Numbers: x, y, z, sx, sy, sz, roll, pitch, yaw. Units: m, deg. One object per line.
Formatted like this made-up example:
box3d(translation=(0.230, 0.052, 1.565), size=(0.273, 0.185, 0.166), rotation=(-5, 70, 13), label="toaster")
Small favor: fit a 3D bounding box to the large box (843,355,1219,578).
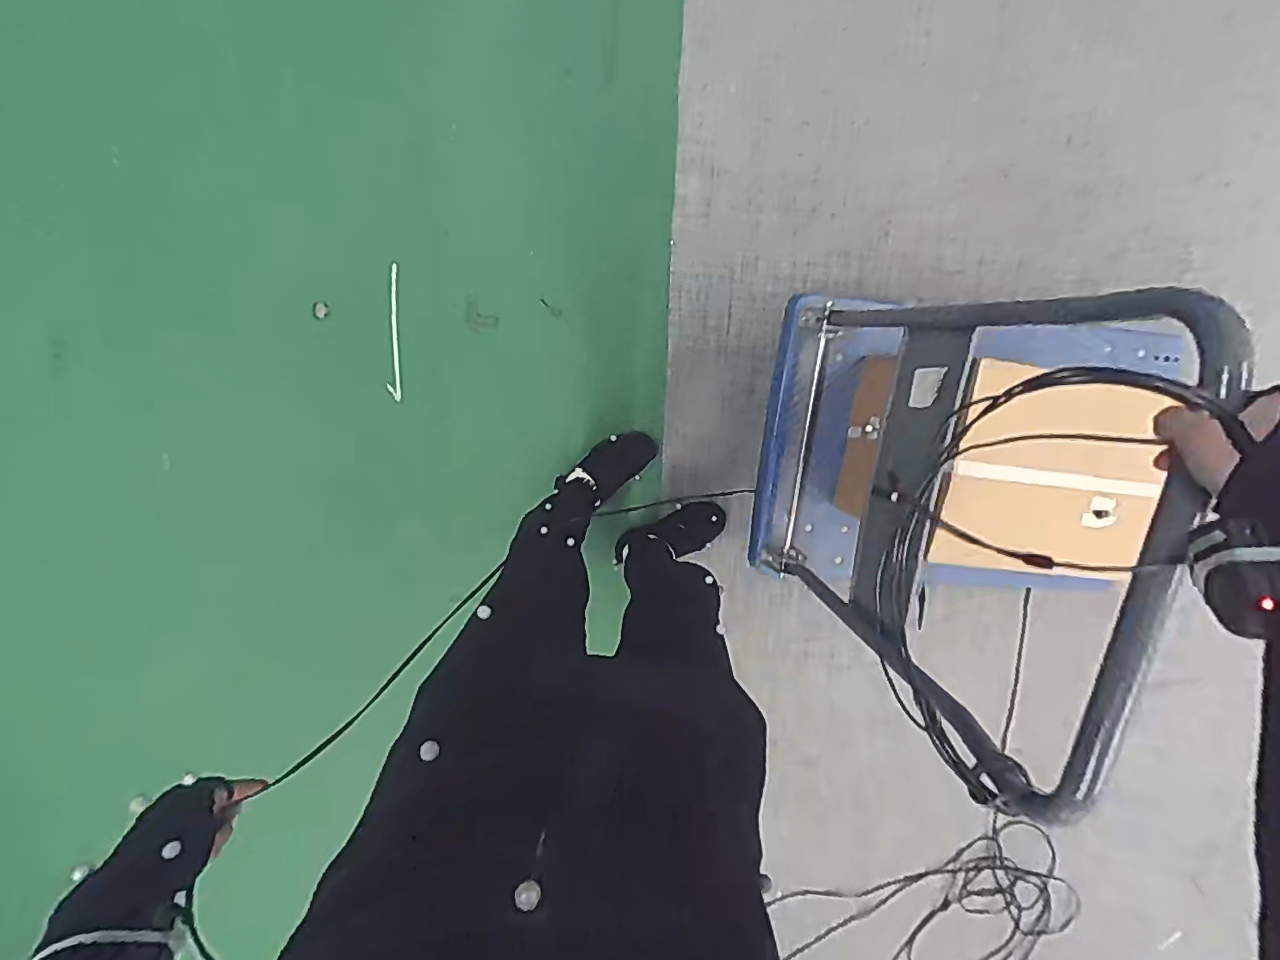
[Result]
box3d(translation=(0.641, -0.041, 0.960), size=(0.408, 0.320, 0.320), rotation=(7, 103, -9), label="large box")
